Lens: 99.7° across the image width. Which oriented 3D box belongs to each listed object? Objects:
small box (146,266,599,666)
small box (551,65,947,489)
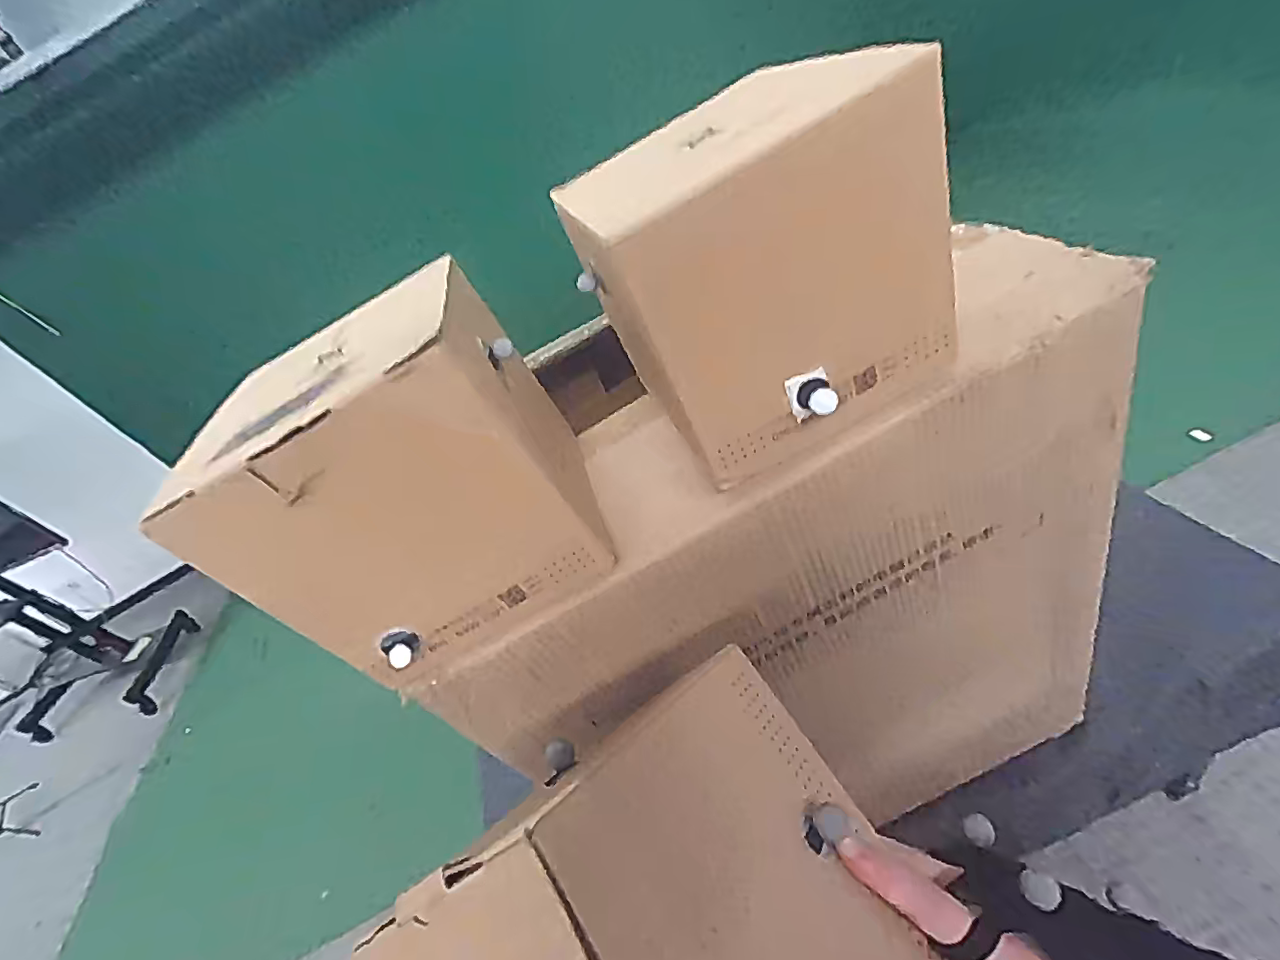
[{"bbox_3d":[-0.143,-0.005,0.356,0.168,0.176,0.179,-29,36,4],"label":"small box"},{"bbox_3d":[0.064,-0.126,0.349,0.168,0.176,0.179,-30,38,2],"label":"small box"}]
